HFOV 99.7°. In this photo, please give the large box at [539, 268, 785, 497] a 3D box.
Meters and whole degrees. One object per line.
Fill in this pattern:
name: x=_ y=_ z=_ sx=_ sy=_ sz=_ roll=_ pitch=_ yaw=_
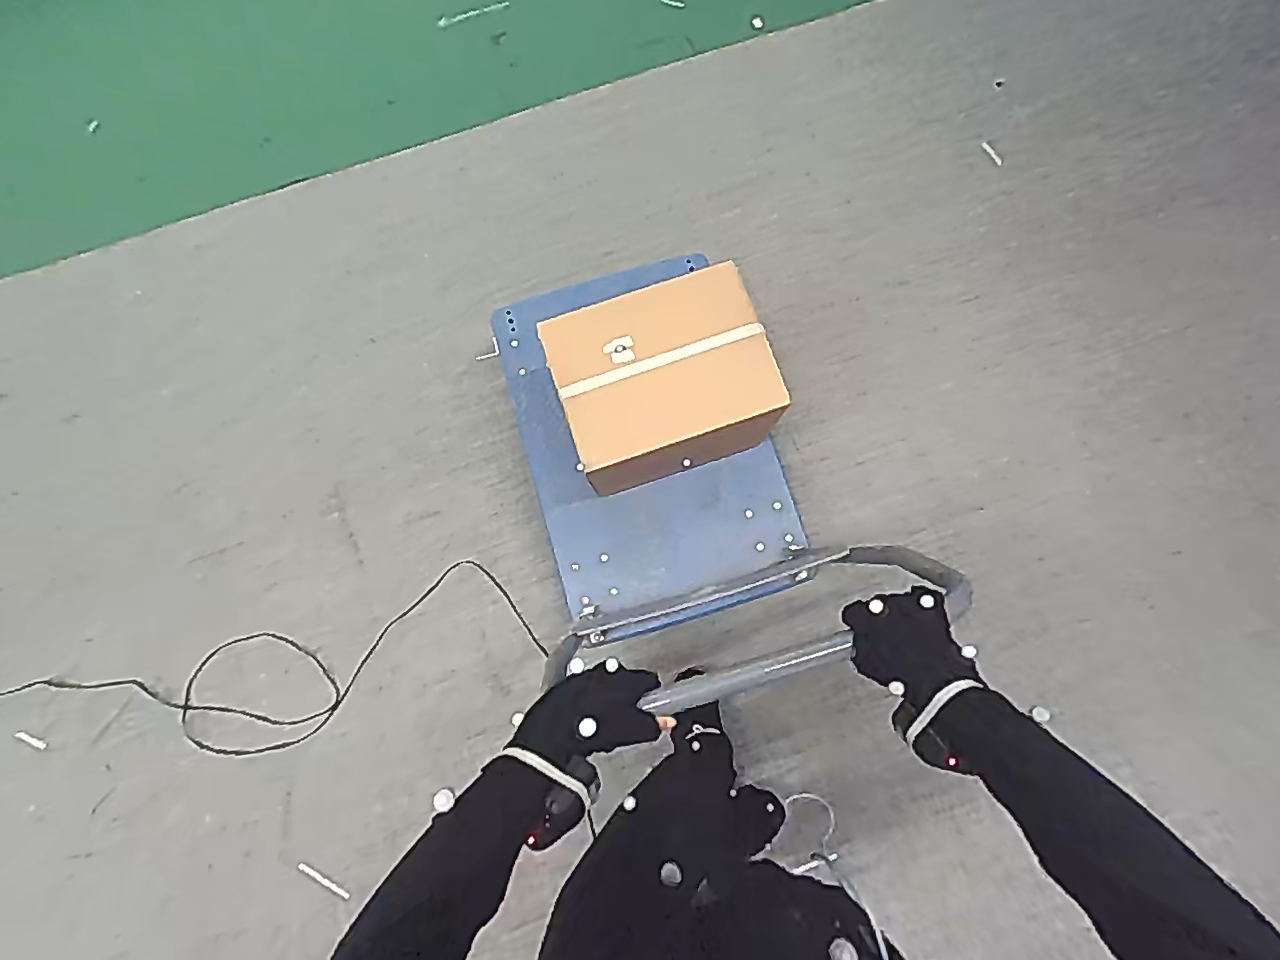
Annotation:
large box: x=0.045 y=-0.188 z=1.182 sx=0.408 sy=0.320 sz=0.320 roll=-20 pitch=79 yaw=-1
